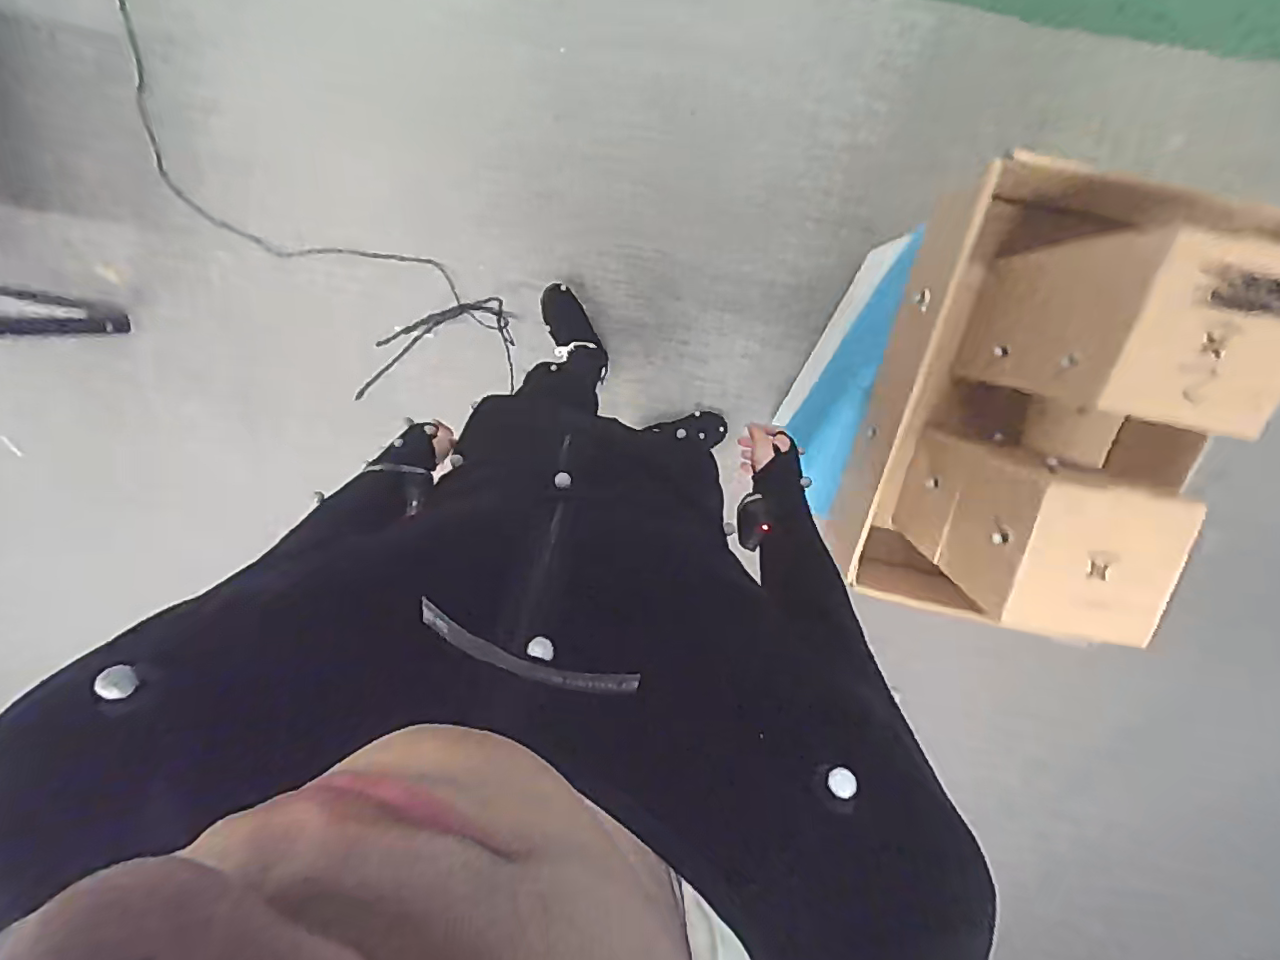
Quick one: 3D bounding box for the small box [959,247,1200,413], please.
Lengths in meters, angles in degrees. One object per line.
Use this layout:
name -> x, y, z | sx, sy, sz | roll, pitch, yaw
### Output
small box -> 0.584, -0.209, 0.752 | 0.168, 0.176, 0.179 | 13, 109, 2

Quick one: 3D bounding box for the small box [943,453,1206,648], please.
small box -> 0.509, 0.074, 0.669 | 0.168, 0.176, 0.179 | 9, 107, 3

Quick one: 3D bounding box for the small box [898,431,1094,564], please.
small box -> 0.523, 0.031, 0.826 | 0.168, 0.176, 0.179 | 11, 106, 2
